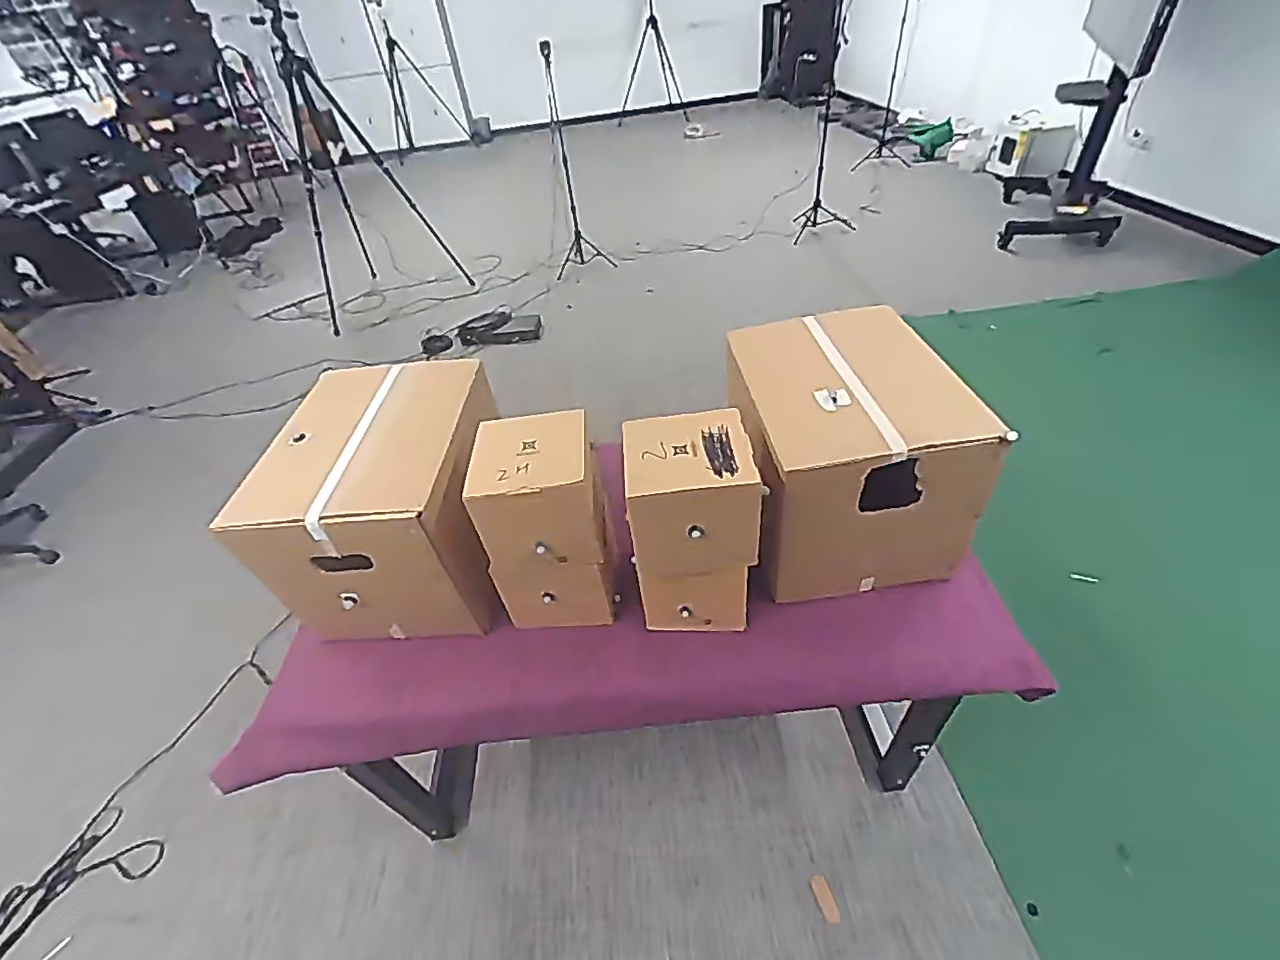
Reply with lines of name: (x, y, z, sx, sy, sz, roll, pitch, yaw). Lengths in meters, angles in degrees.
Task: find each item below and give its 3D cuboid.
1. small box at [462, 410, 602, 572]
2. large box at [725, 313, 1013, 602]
small box: (-0.152, 0.016, 0.829, 0.168, 0.176, 0.179, -8, 42, 2)
large box: (0.347, -0.050, 0.969, 0.320, 0.320, 0.408, -10, 43, 2)
